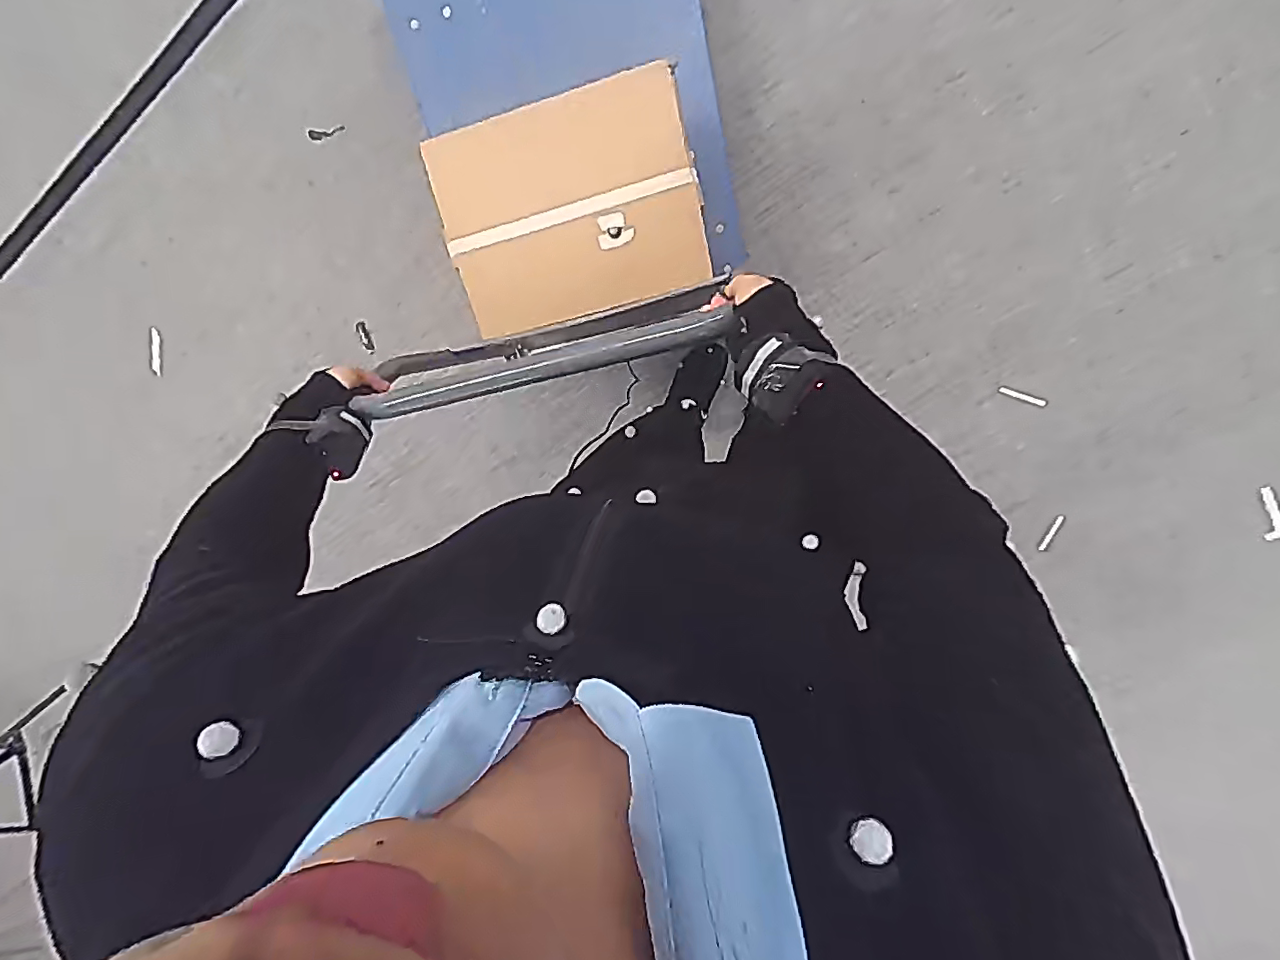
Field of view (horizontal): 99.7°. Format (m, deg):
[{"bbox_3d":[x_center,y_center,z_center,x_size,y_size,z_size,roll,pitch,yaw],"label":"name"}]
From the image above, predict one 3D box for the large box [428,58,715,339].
[{"bbox_3d":[-0.094,-0.473,0.998,0.408,0.320,0.320,-12,108,10],"label":"large box"}]
